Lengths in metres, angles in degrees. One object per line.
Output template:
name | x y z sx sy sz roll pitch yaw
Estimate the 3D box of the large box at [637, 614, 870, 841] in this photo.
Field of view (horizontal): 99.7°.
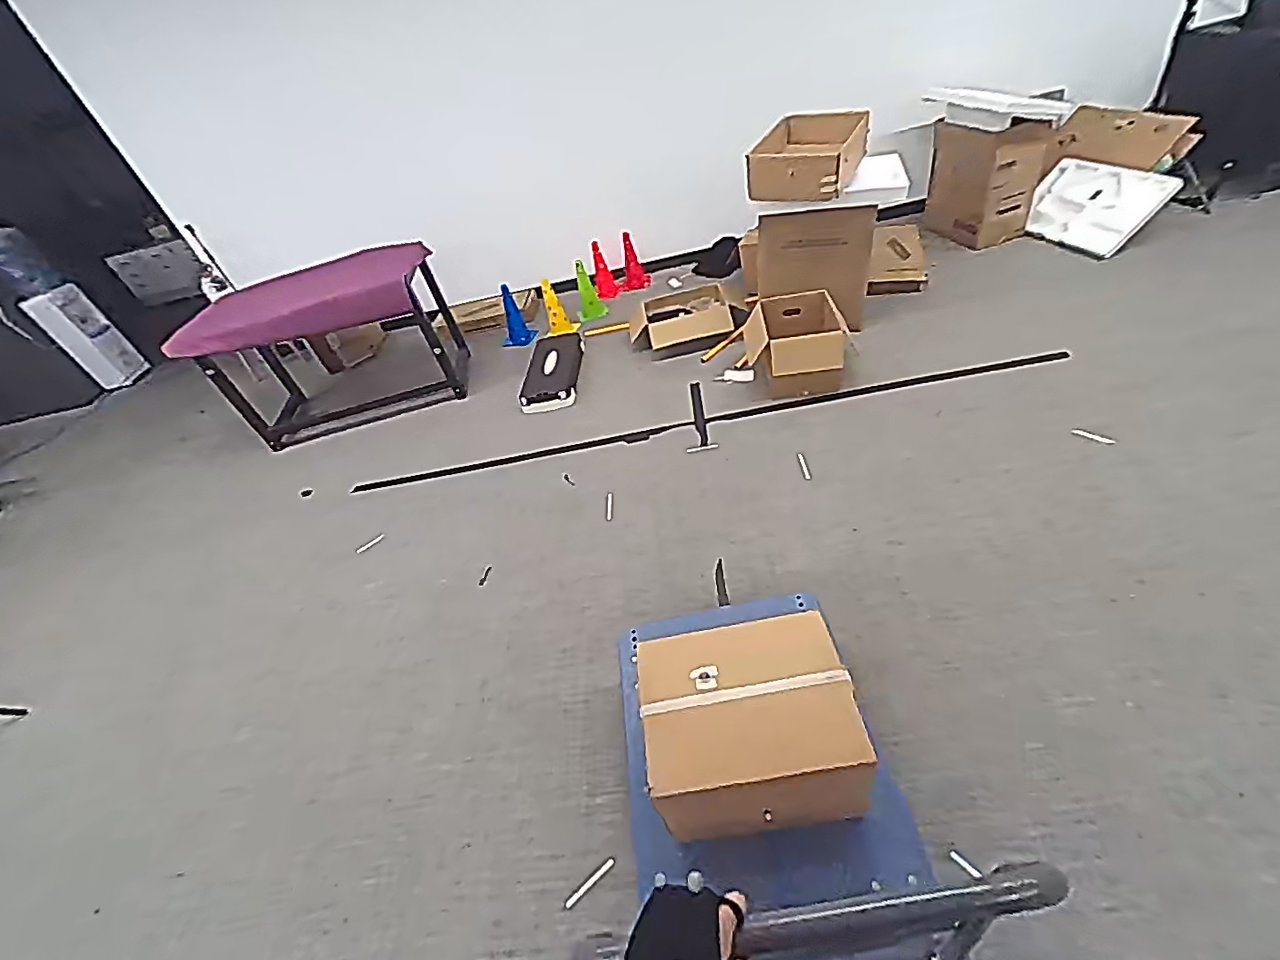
large box | 0.232 0.538 1.167 0.408 0.320 0.320 -13 41 6
